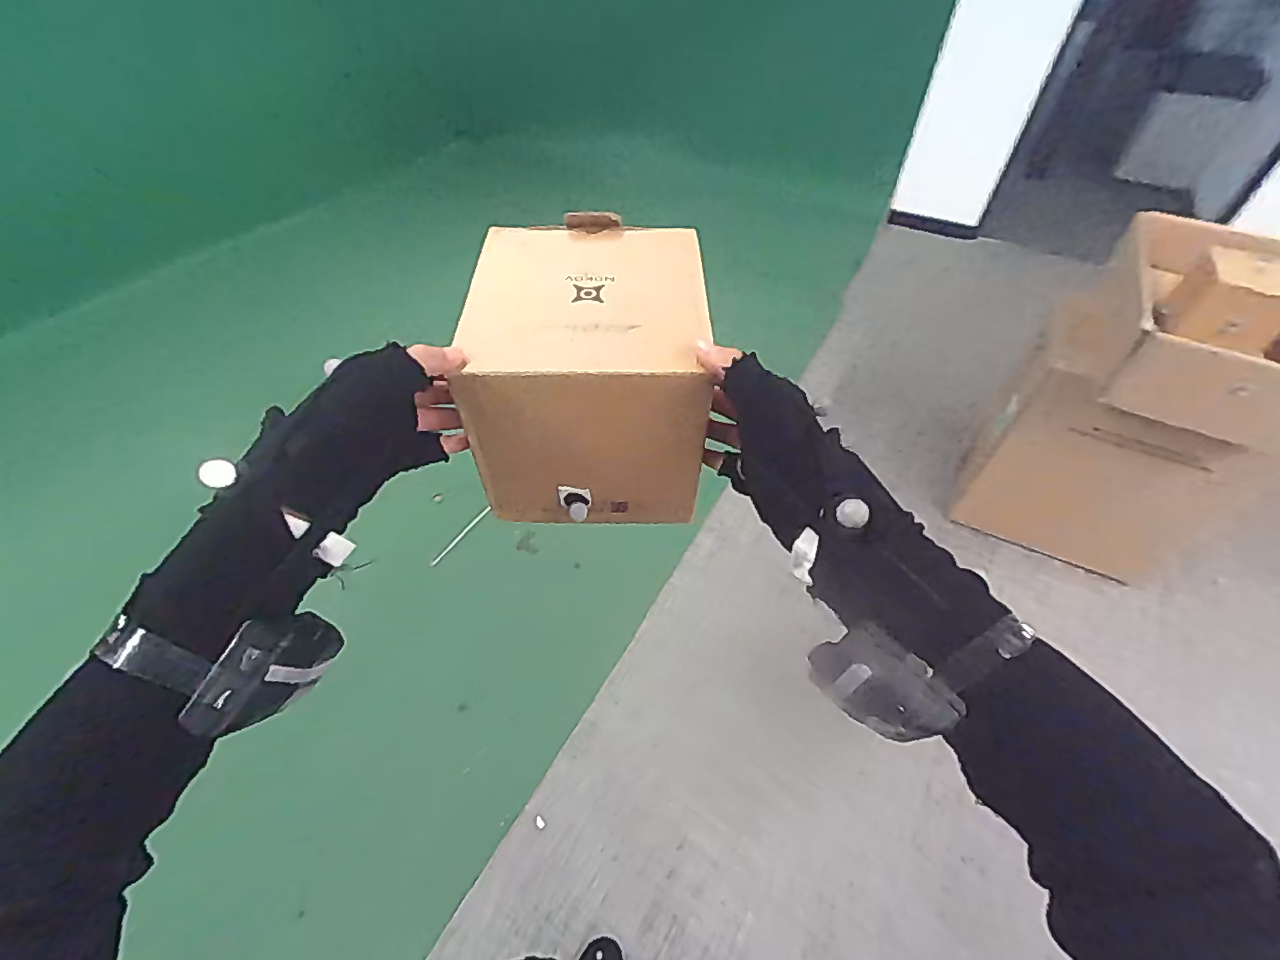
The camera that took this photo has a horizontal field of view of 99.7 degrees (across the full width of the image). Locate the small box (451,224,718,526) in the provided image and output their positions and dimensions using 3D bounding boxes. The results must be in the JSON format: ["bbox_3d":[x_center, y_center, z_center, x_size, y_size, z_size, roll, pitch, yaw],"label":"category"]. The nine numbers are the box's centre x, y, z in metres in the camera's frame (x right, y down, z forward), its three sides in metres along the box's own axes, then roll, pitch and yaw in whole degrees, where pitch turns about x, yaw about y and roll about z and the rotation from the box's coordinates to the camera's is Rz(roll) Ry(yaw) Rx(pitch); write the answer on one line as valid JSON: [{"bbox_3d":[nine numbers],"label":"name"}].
[{"bbox_3d":[-0.034,-0.083,0.440,0.168,0.176,0.179,1,52,0],"label":"small box"}]

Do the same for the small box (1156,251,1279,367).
[{"bbox_3d":[1.324,-0.384,1.225,0.168,0.176,0.179,23,54,18],"label":"small box"}]
